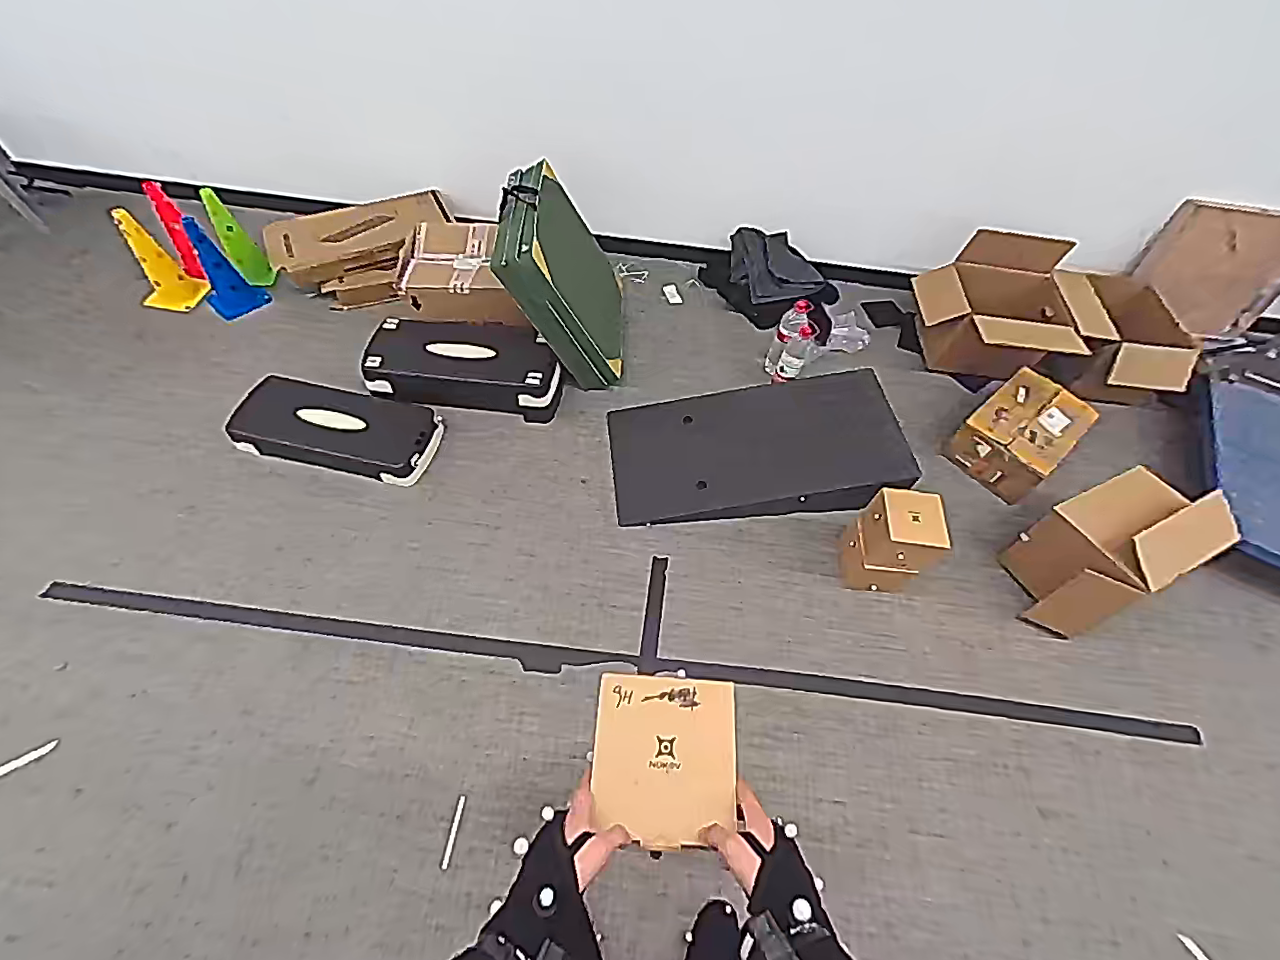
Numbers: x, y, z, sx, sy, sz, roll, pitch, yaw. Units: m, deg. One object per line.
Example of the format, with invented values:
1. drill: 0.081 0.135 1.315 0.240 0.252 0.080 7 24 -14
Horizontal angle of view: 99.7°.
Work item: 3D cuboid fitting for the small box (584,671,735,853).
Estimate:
1. small box: 0.027 0.358 0.695 0.168 0.176 0.179 5 60 2
